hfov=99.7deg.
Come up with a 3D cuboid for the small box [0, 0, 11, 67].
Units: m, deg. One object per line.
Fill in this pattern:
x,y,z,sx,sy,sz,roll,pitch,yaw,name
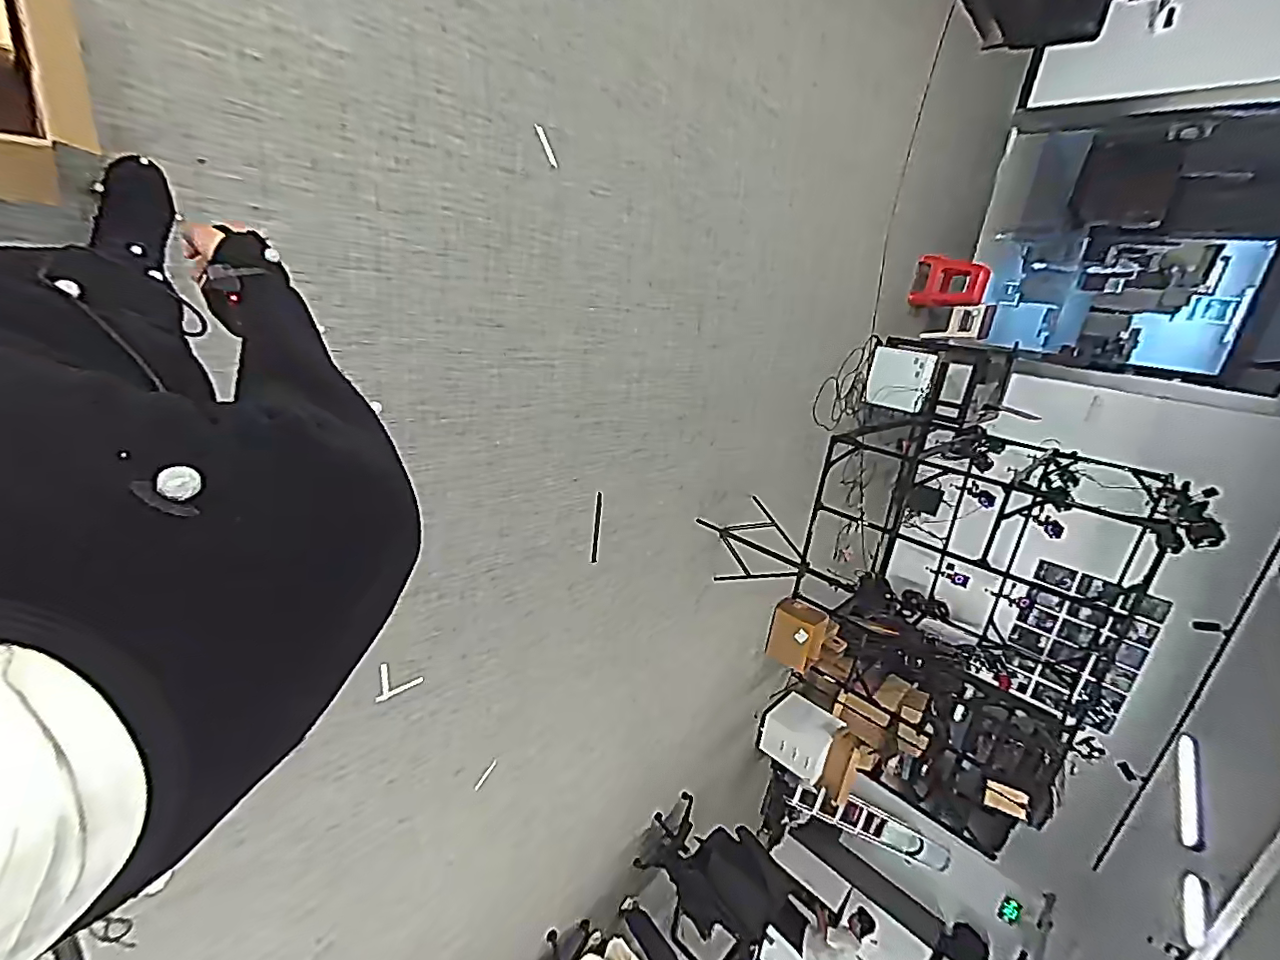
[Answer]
-0.982,-0.695,0.721,0.168,0.176,0.179,-11,116,-46,small box
